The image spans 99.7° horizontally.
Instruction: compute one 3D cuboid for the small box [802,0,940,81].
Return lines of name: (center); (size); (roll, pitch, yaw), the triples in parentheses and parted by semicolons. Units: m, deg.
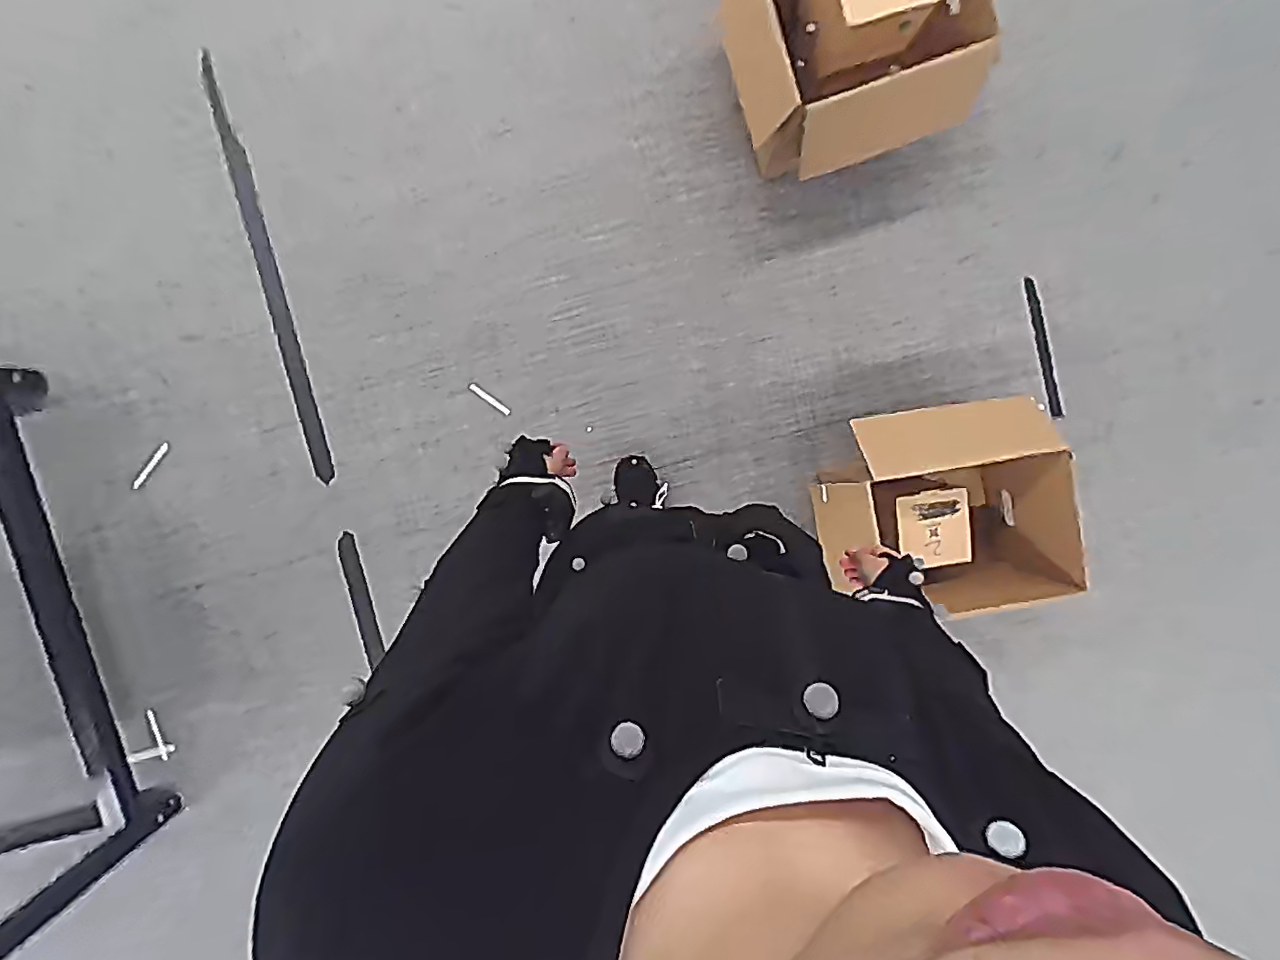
small box: (0.438, -0.926, 1.047); (0.179, 0.176, 0.168); (-16, 94, 1)
